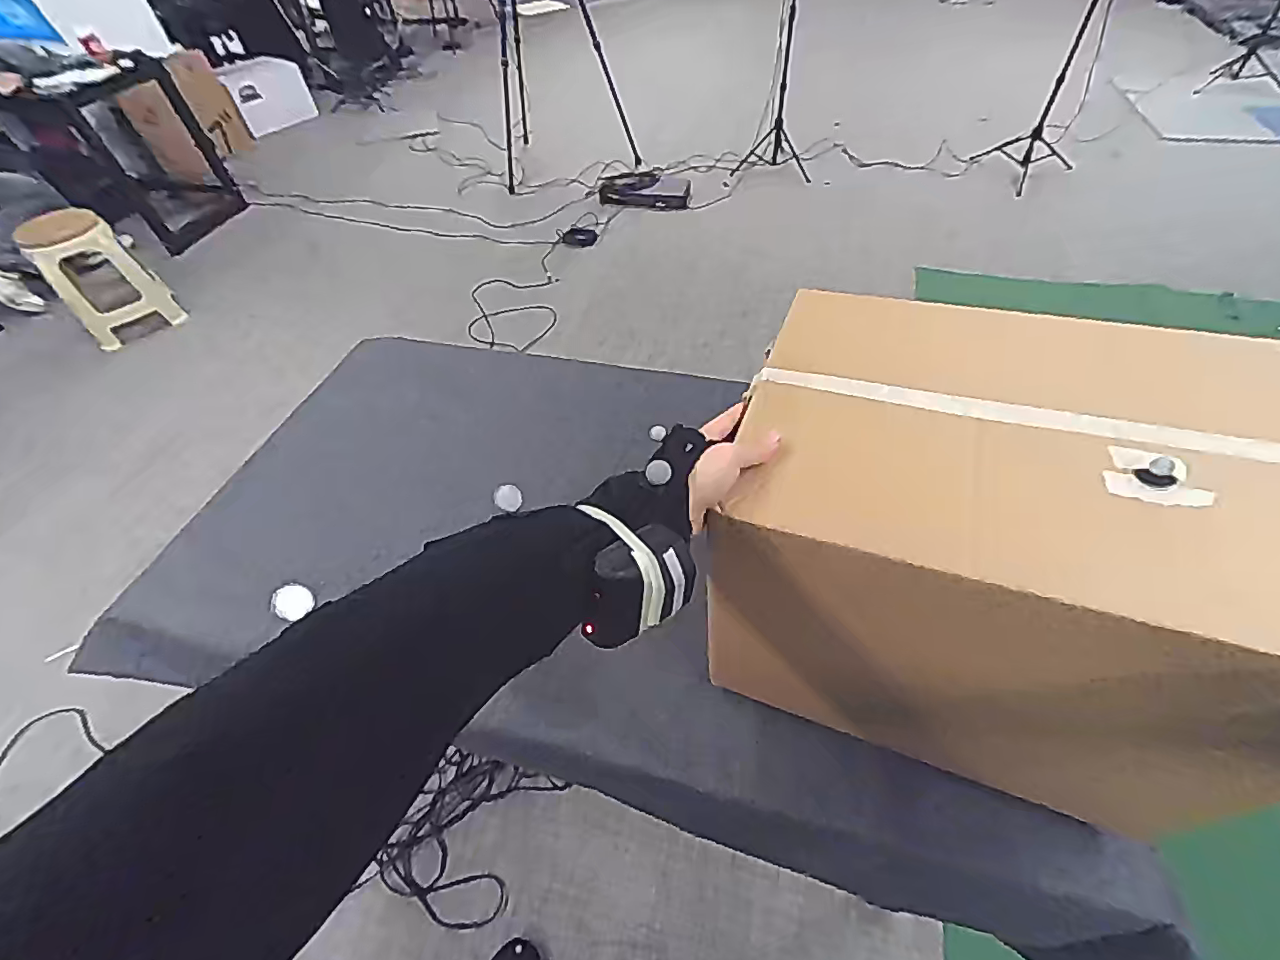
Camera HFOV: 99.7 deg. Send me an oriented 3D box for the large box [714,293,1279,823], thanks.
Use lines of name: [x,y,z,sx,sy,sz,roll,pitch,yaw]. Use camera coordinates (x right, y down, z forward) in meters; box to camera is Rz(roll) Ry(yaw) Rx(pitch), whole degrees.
large box: [0.305,0.056,0.518,0.408,0.320,0.320,14,52,18]
